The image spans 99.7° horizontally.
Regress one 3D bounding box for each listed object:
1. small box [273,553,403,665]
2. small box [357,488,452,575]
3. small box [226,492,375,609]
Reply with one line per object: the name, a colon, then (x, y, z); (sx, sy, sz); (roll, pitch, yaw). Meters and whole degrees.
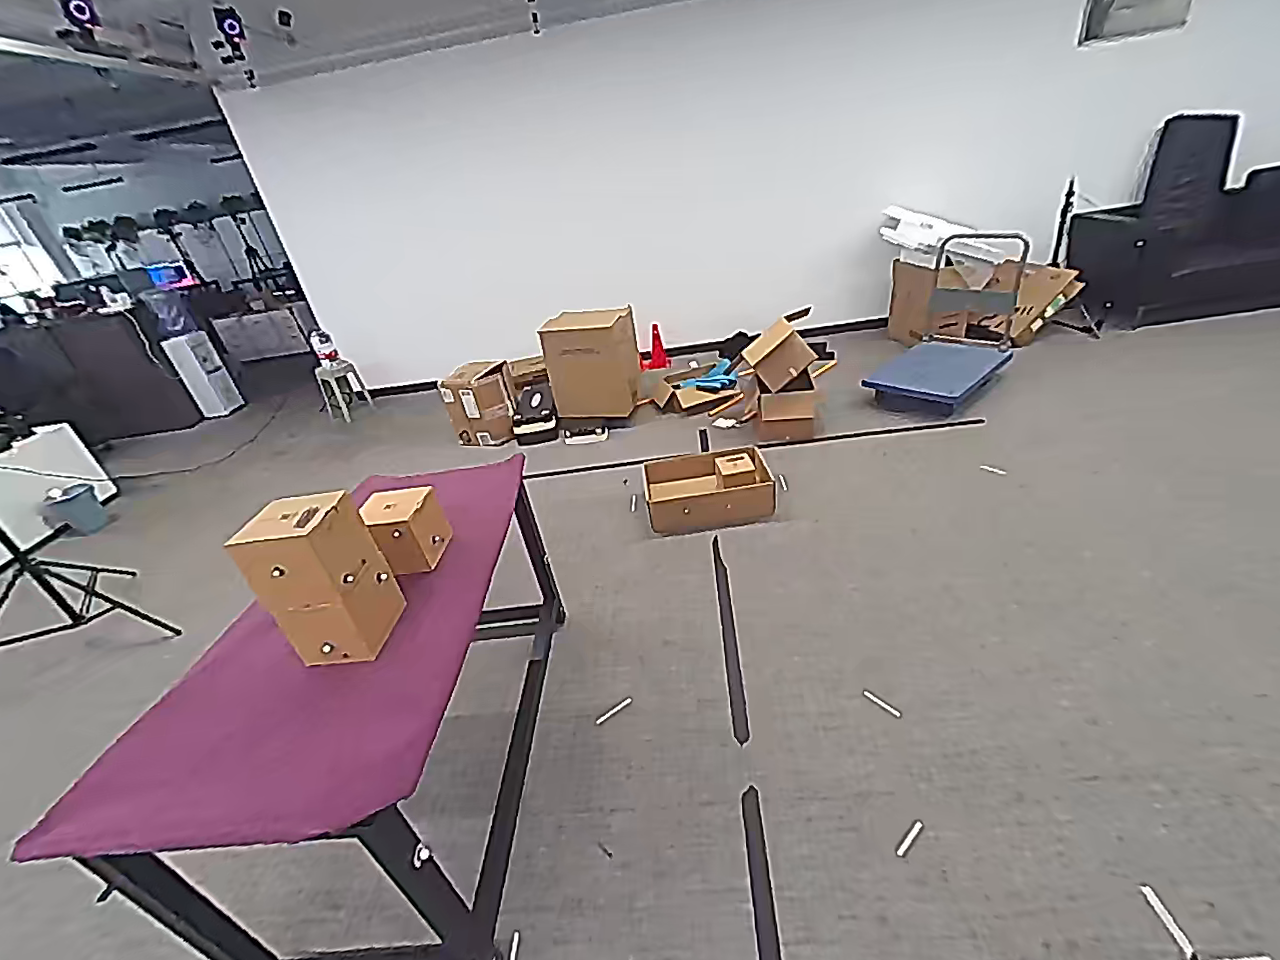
small box: (-0.659, 0.287, 1.211); (0.168, 0.176, 0.179); (-7, 30, 7)
small box: (-0.637, 0.142, 1.452); (0.179, 0.176, 0.168); (-7, 30, 7)
small box: (-0.692, 0.147, 1.130); (0.179, 0.176, 0.168); (-8, 30, 5)
